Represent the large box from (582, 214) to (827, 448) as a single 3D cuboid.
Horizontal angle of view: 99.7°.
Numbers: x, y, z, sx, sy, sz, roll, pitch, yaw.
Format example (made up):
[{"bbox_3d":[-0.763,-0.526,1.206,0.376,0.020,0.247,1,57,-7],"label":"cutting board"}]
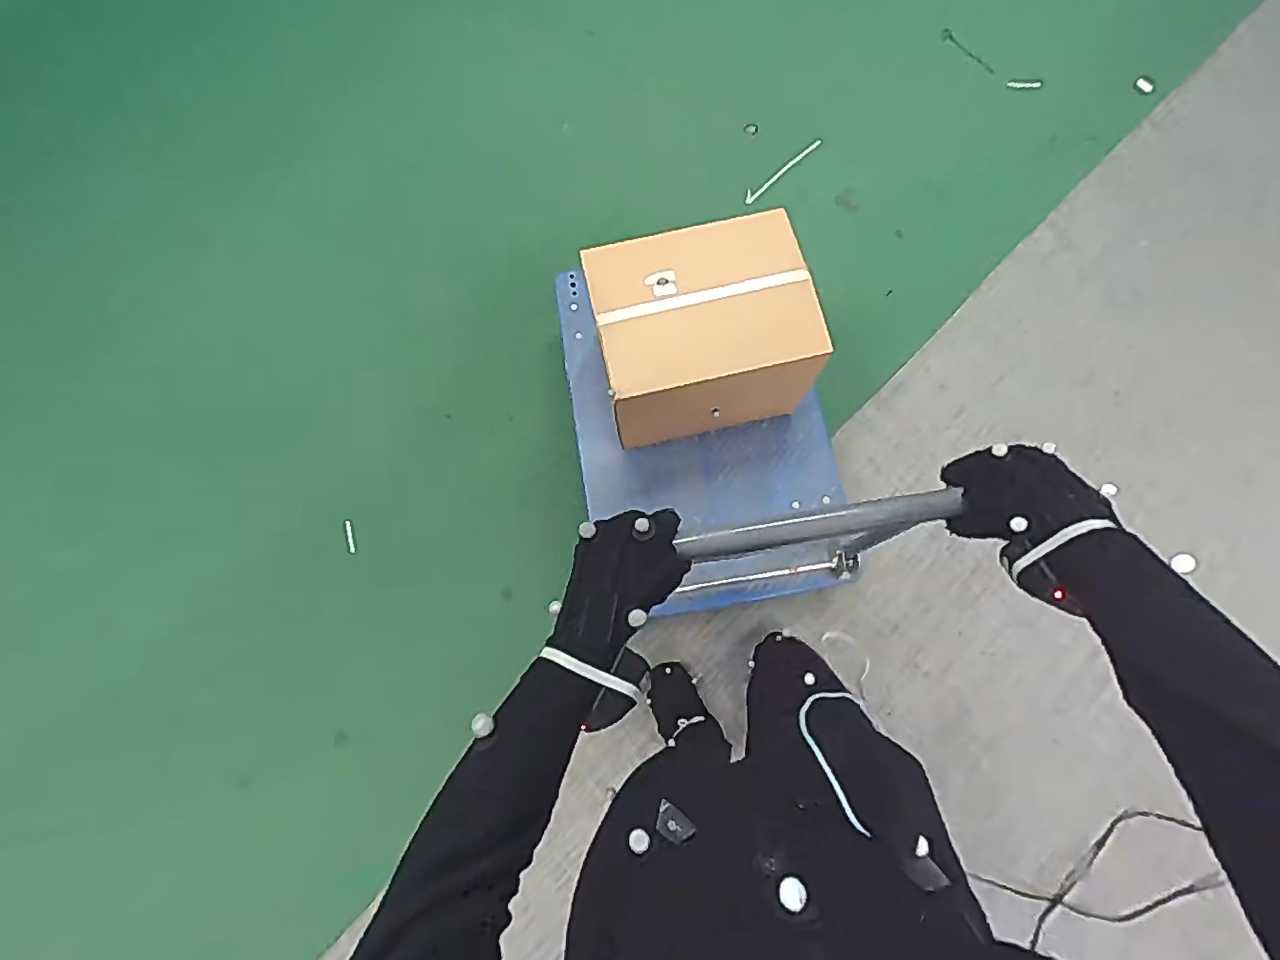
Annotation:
[{"bbox_3d":[0.122,-0.293,1.154,0.408,0.320,0.320,-14,76,-1],"label":"large box"}]
